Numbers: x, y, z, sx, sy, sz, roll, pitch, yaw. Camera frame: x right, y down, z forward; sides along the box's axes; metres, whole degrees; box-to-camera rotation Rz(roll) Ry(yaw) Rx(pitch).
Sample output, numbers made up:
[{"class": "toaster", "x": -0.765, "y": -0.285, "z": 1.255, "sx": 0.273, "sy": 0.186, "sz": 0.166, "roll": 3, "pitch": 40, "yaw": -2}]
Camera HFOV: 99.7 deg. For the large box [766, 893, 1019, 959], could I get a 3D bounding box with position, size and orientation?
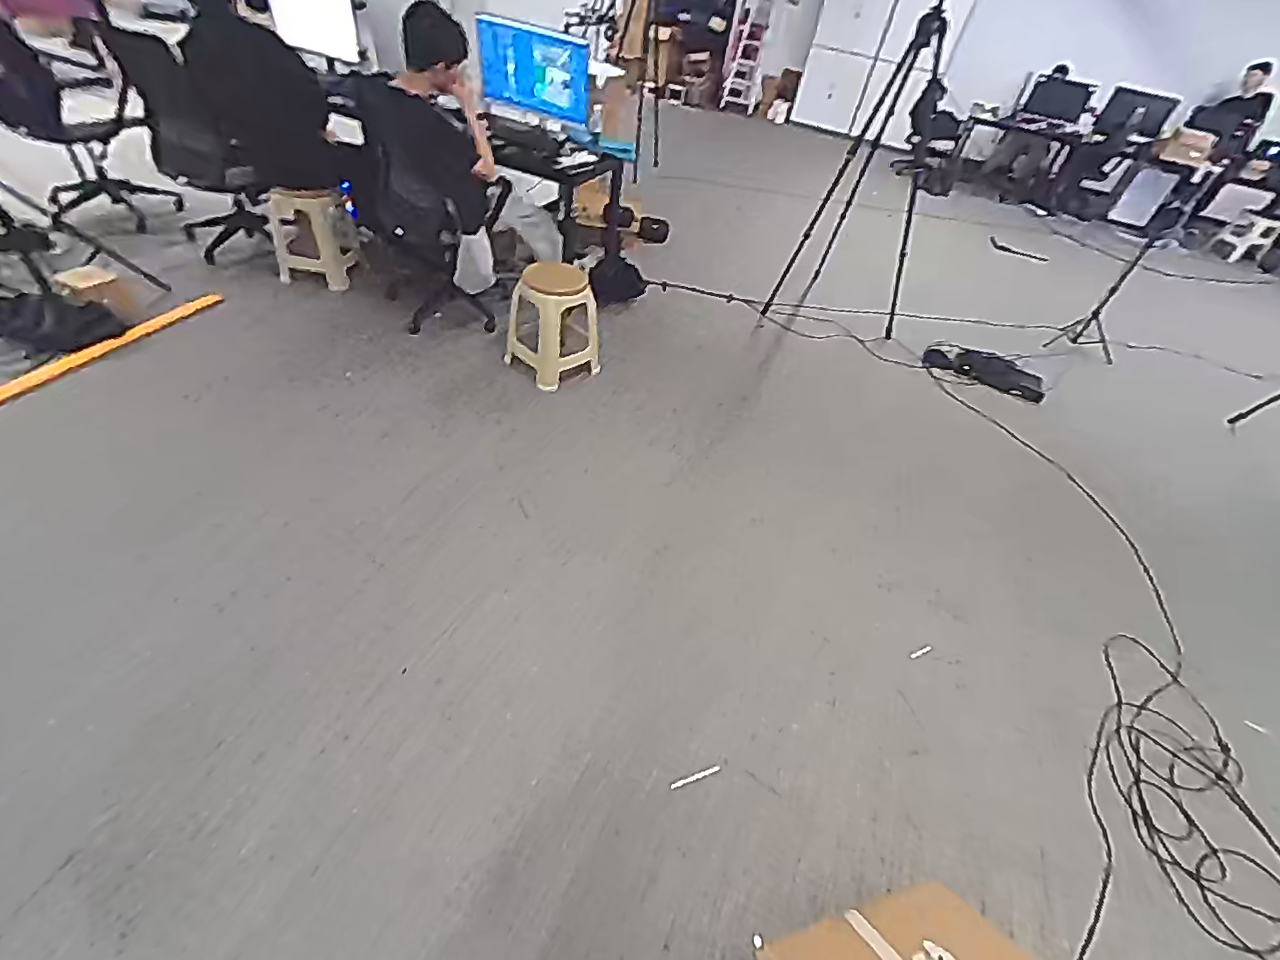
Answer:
[{"class": "large box", "x": 0.387, "y": 0.787, "z": 0.606, "sx": 0.320, "sy": 0.408, "sz": 0.320, "roll": -9, "pitch": 83, "yaw": -11}]
